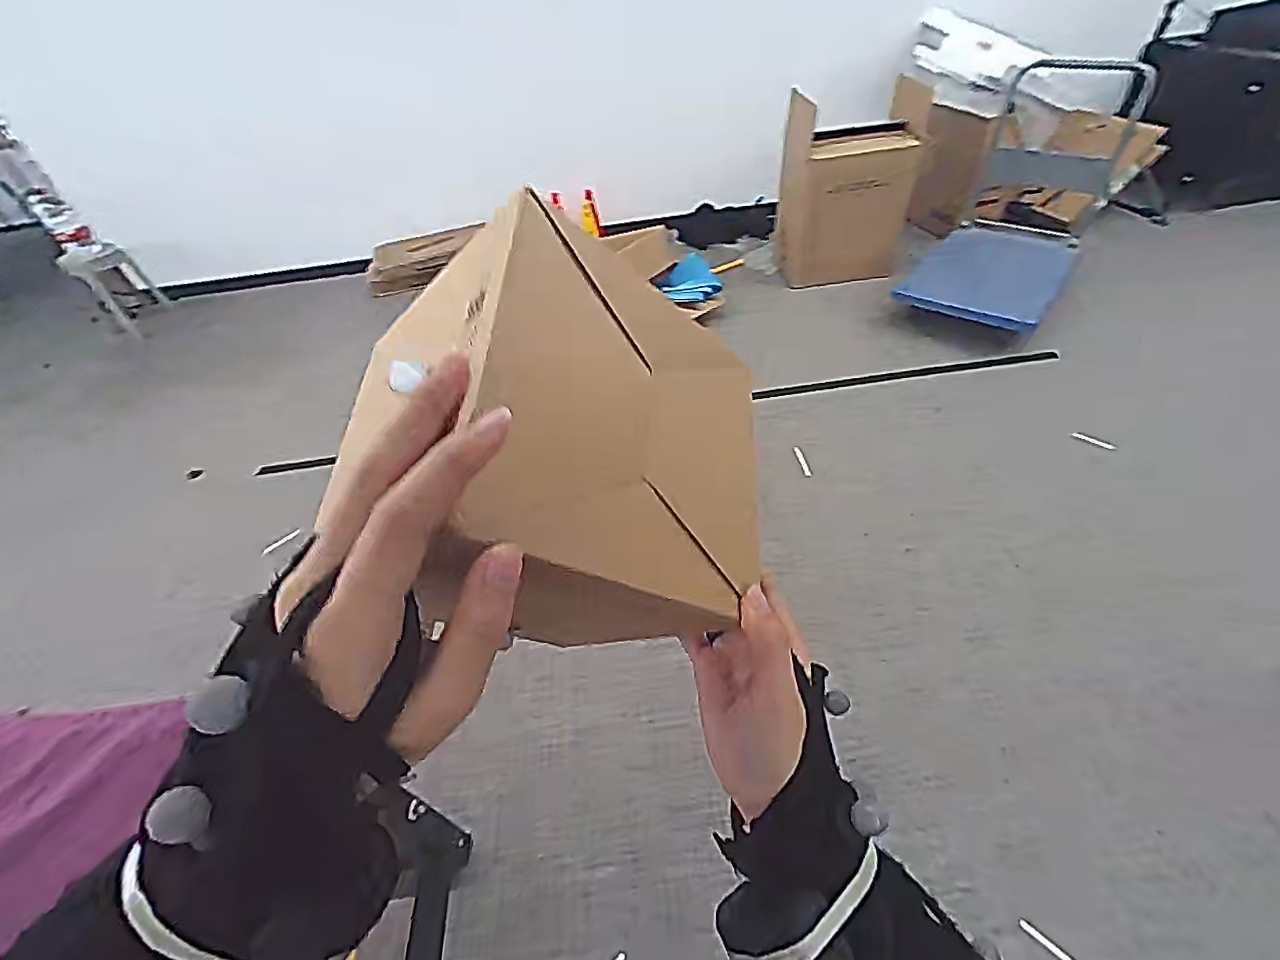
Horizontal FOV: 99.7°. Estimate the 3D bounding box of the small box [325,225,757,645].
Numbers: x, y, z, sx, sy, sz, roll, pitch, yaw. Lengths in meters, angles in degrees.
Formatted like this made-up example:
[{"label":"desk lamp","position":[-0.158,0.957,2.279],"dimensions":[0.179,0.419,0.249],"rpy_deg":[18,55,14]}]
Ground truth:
[{"label":"small box","position":[-0.046,-0.001,0.320],"dimensions":[0.176,0.179,0.168],"rpy_deg":[-21,55,40]}]
